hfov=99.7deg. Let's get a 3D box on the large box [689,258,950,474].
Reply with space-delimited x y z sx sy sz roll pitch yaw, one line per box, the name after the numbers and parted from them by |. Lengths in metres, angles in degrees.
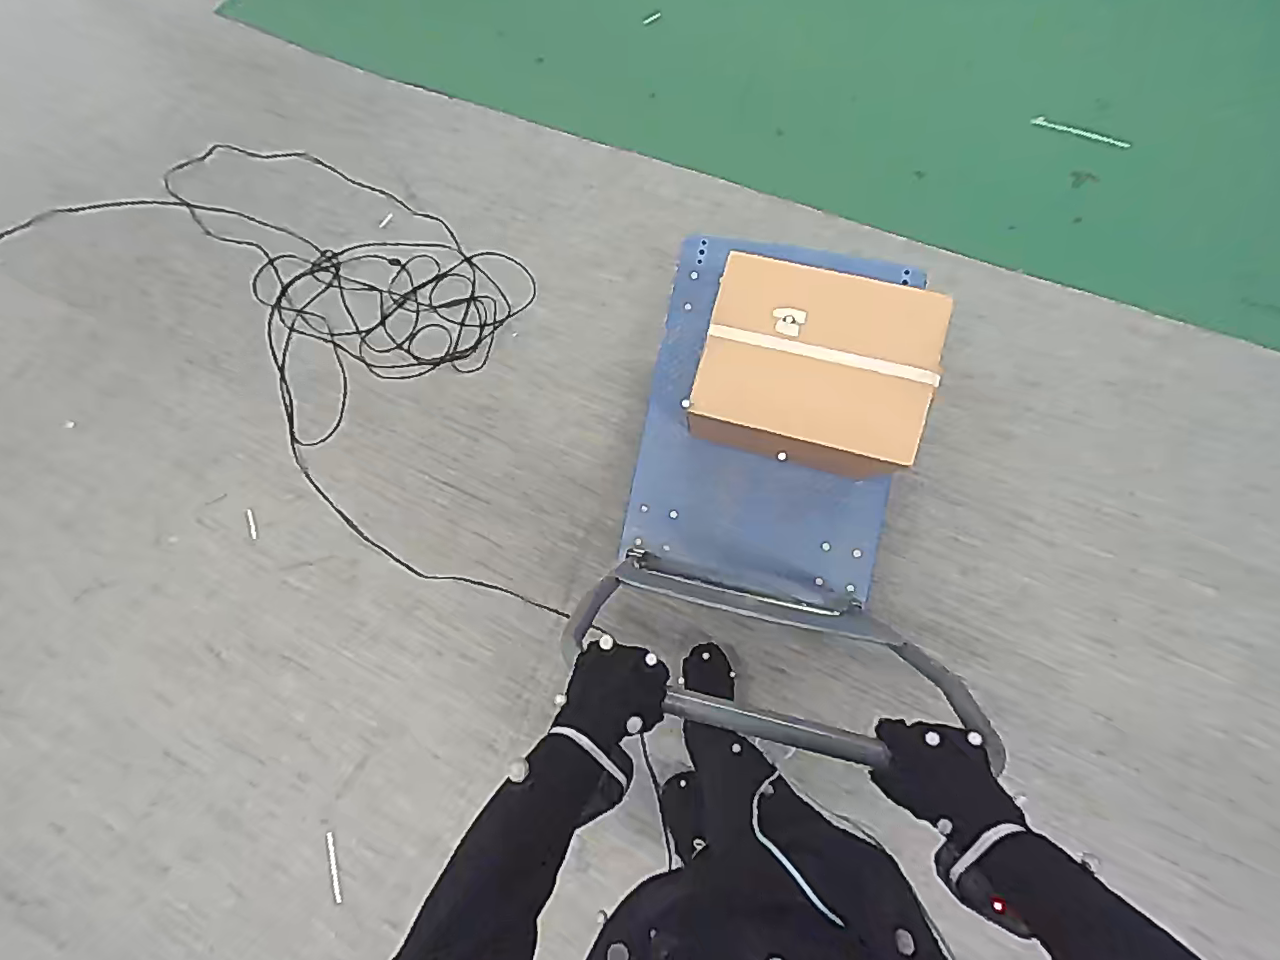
0.337 -0.209 1.108 0.408 0.320 0.320 14 87 9 | large box
